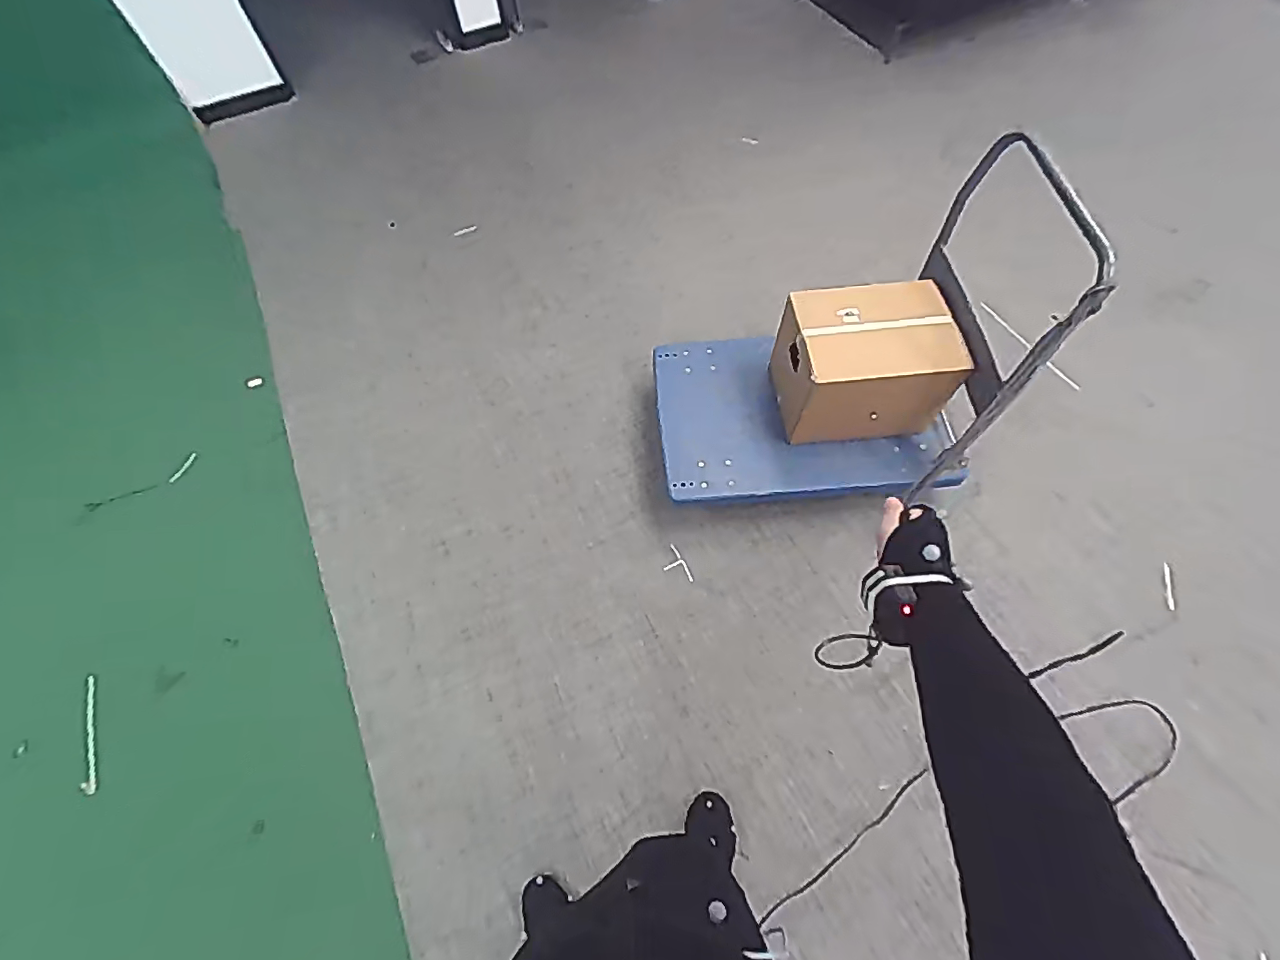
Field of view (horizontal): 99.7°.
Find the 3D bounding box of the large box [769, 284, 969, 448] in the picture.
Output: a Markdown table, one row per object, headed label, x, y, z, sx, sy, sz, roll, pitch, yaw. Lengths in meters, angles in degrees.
| label | x | y | z | sx | sy | sz | roll | pitch | yaw |
| --- | --- | --- | --- | --- | --- | --- | --- | --- | --- |
| large box | 0.616 | -0.311 | 1.538 | 0.408 | 0.320 | 0.320 | -6 | 62 | 0 |
